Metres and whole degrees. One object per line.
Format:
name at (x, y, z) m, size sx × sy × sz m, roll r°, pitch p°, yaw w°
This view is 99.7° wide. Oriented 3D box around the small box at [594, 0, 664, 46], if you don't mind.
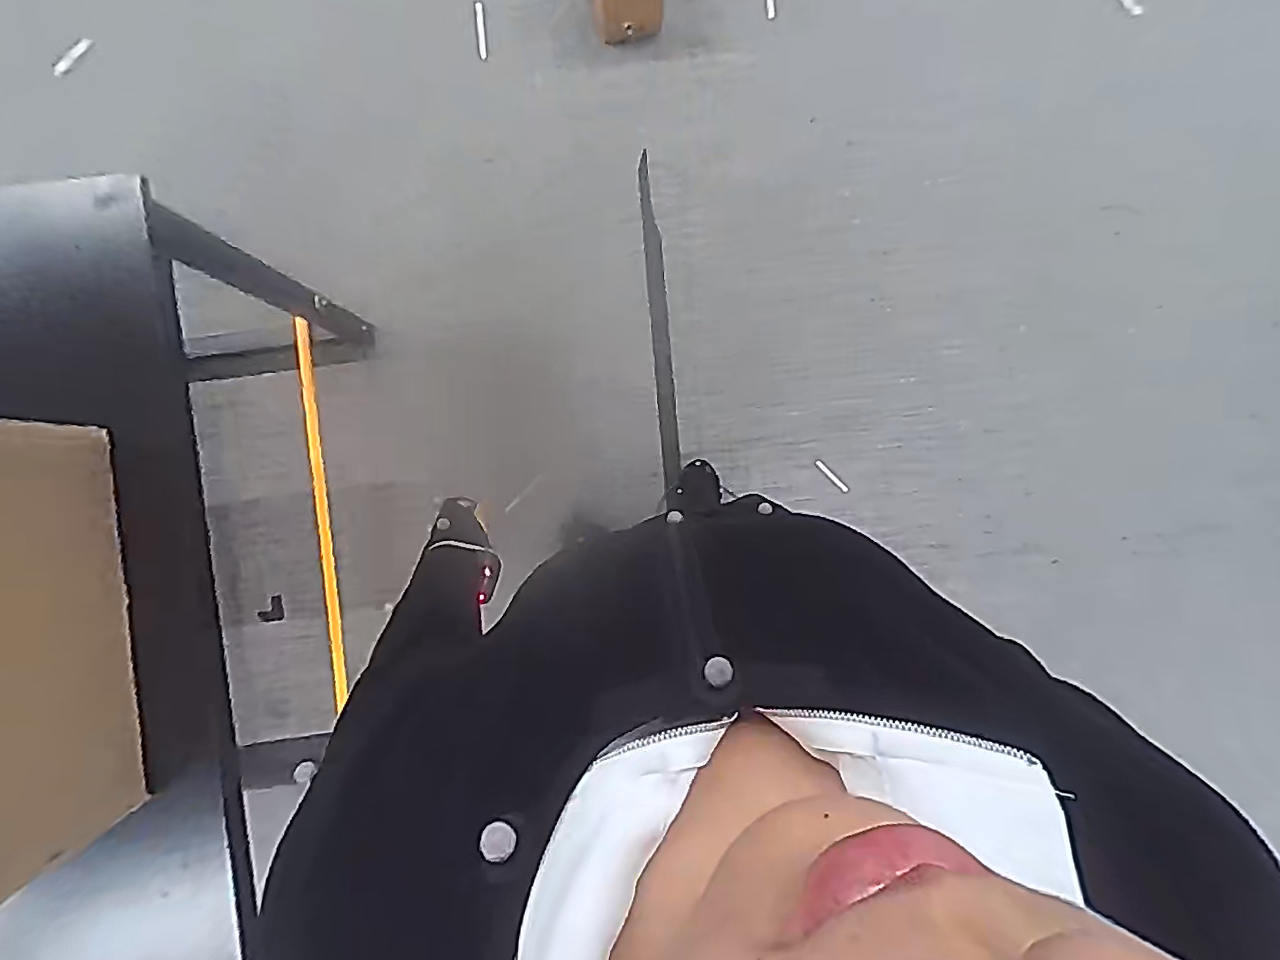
small box at (-0.035, -1.286, 1.404) m, size 0.168 × 0.176 × 0.179 m, roll -11°, pitch 92°, yaw -1°
